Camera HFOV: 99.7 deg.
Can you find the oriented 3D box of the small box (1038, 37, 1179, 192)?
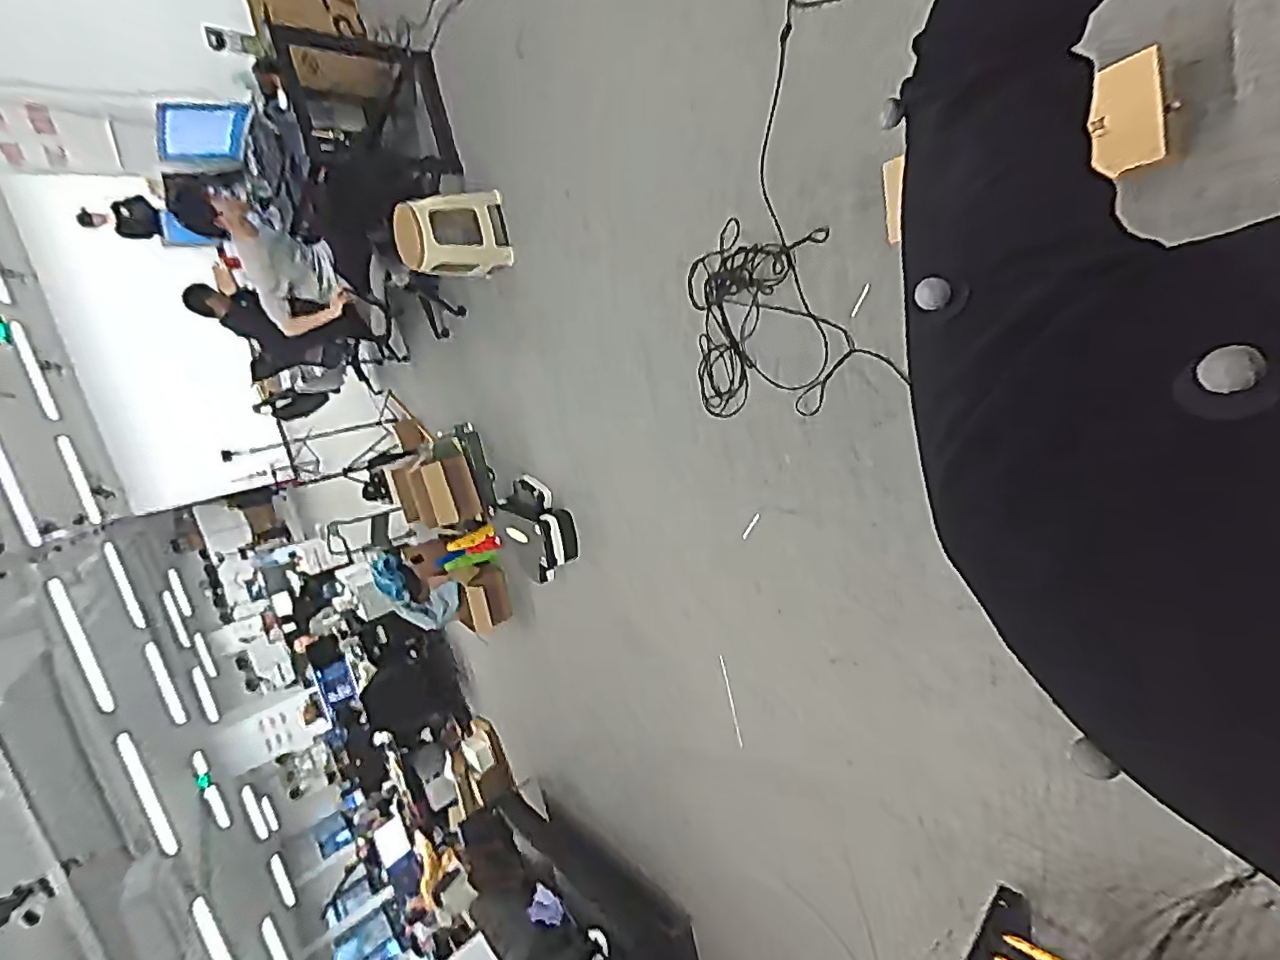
[{"bbox_3d":[0.861,-0.653,0.993,0.168,0.176,0.179,-4,105,51],"label":"small box"}]
